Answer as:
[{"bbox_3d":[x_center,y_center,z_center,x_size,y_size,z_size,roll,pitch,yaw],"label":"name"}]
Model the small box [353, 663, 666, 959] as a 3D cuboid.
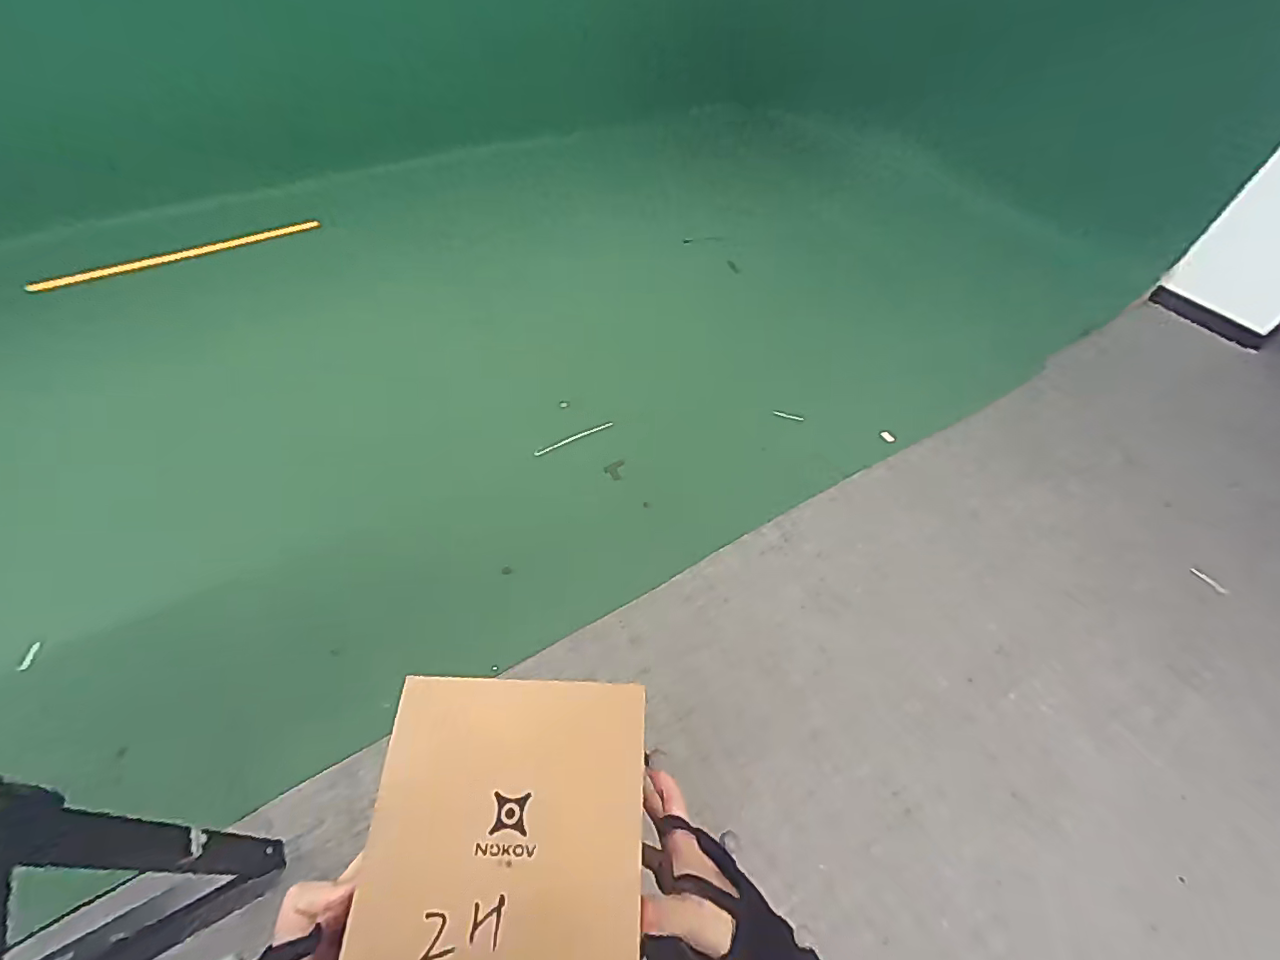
[{"bbox_3d":[-0.071,0.244,0.390,0.168,0.176,0.179,3,59,0],"label":"small box"}]
